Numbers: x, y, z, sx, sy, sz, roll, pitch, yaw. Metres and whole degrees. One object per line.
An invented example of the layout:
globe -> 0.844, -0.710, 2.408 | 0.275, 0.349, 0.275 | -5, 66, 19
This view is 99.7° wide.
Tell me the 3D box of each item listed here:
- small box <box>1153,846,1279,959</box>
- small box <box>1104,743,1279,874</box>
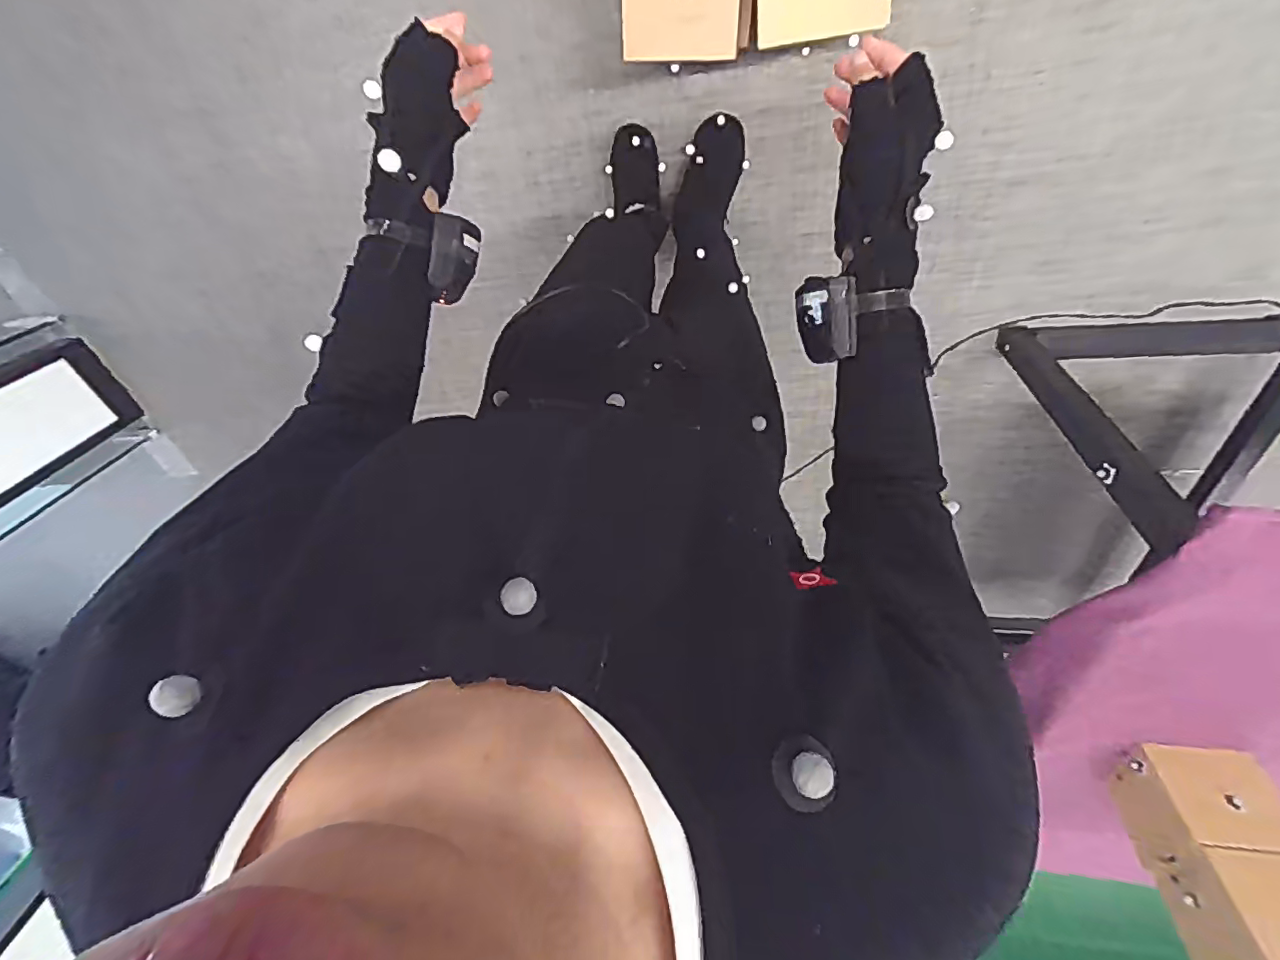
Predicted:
small box -> 0.980, 0.698, 0.844 | 0.179, 0.176, 0.168 | 1, 129, 11
small box -> 0.997, 0.595, 0.972 | 0.179, 0.176, 0.168 | 1, 130, 10
